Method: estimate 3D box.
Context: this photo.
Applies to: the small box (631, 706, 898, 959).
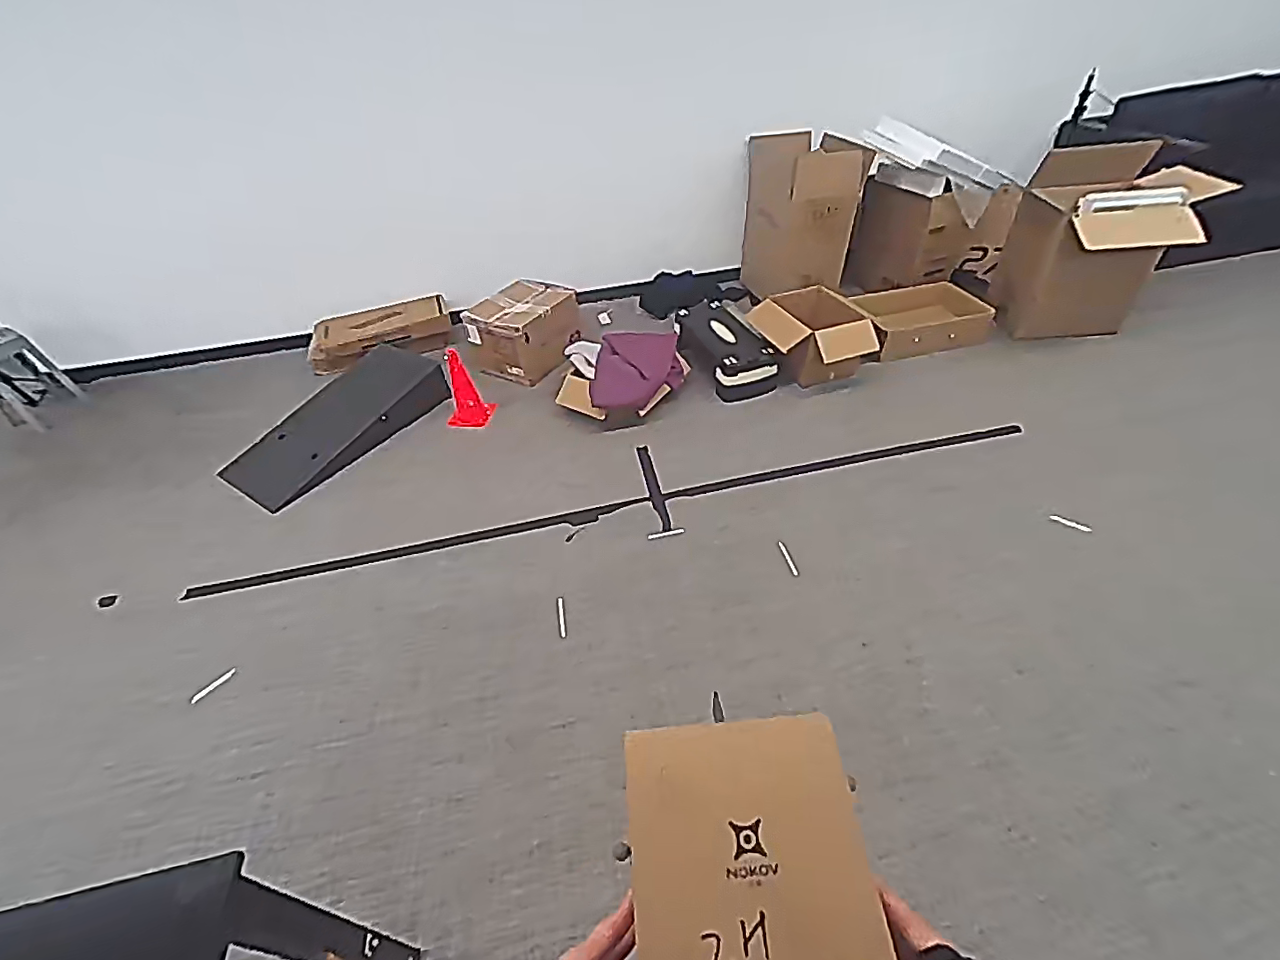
[{"bbox_3d":[0.080,0.305,0.444,0.168,0.176,0.179,-5,52,0],"label":"small box"}]
